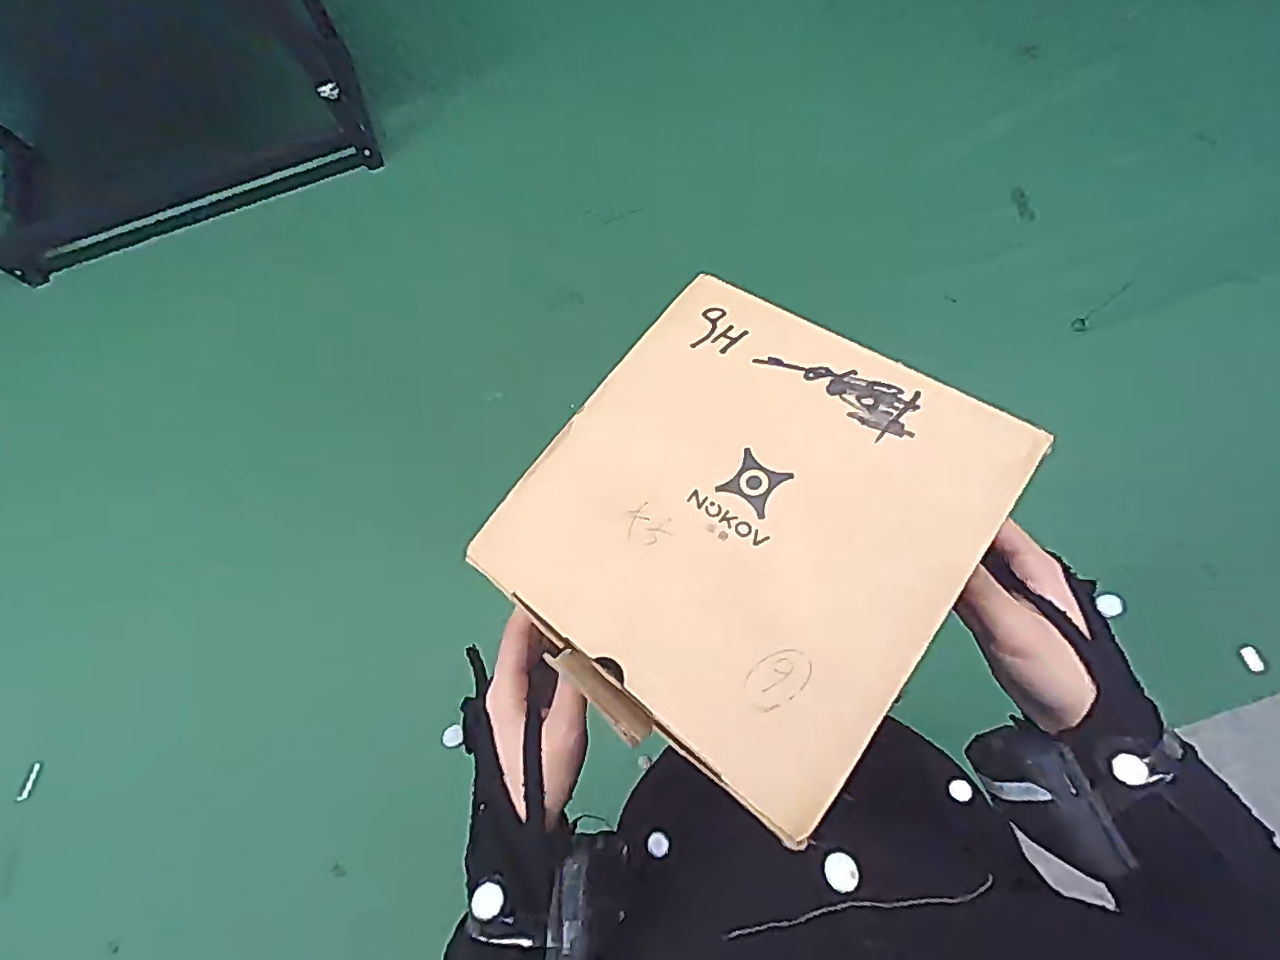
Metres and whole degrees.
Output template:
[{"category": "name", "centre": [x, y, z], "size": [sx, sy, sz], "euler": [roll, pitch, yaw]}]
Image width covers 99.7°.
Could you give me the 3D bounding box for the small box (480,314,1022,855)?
[{"category": "small box", "centre": [0.056, 0.053, 0.300], "size": [0.168, 0.176, 0.179], "euler": [34, 77, 22]}]
